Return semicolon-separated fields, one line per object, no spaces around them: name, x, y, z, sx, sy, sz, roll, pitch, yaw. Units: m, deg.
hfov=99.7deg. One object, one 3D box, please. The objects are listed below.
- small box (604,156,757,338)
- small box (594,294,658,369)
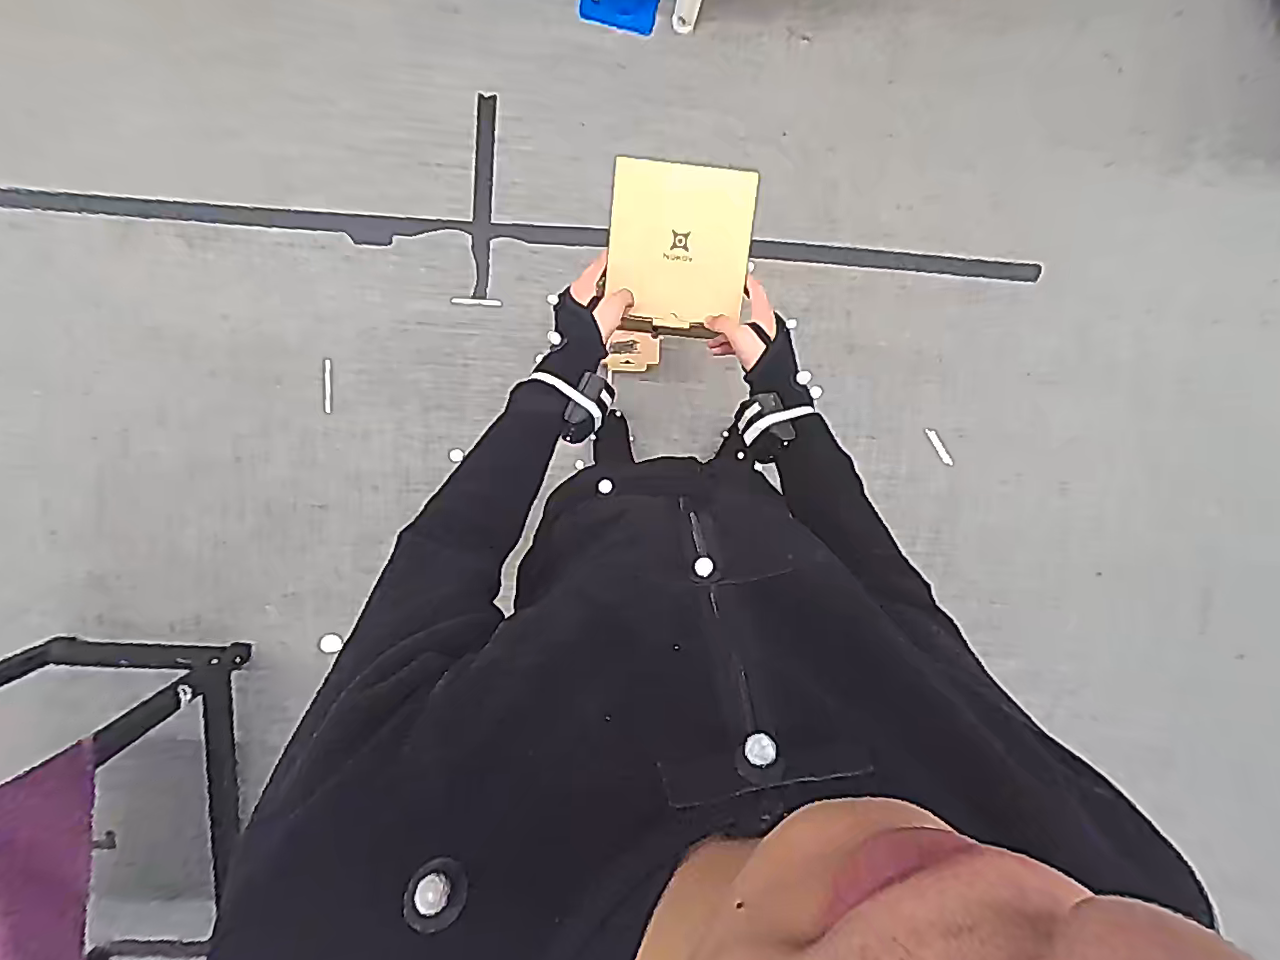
small box;0.042;-0.287;0.705;0.168;0.176;0.179;5;101;-3
small box;-0.036;-0.397;1.473;0.168;0.176;0.179;2;98;-3
